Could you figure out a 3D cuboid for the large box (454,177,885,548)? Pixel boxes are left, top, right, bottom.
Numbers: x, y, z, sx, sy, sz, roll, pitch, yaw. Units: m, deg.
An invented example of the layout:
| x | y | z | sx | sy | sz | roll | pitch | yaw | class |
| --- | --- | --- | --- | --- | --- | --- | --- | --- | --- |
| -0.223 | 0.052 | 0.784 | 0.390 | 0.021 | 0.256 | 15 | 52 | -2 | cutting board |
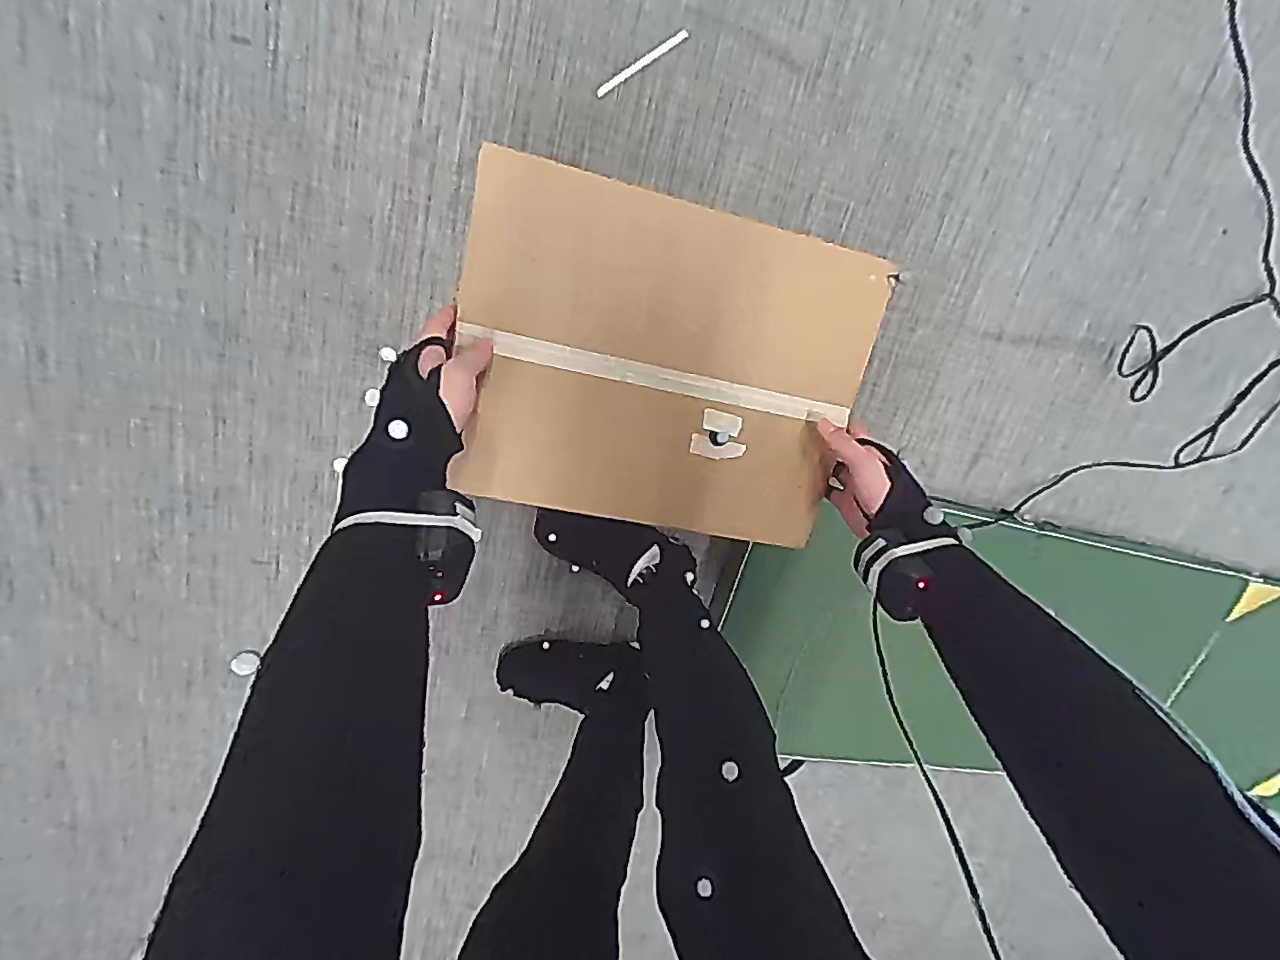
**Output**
| x | y | z | sx | sy | sz | roll | pitch | yaw | class |
| --- | --- | --- | --- | --- | --- | --- | --- | --- | --- |
| 0.007 | -0.136 | 0.691 | 0.408 | 0.320 | 0.320 | 10 | 106 | -12 | large box |
